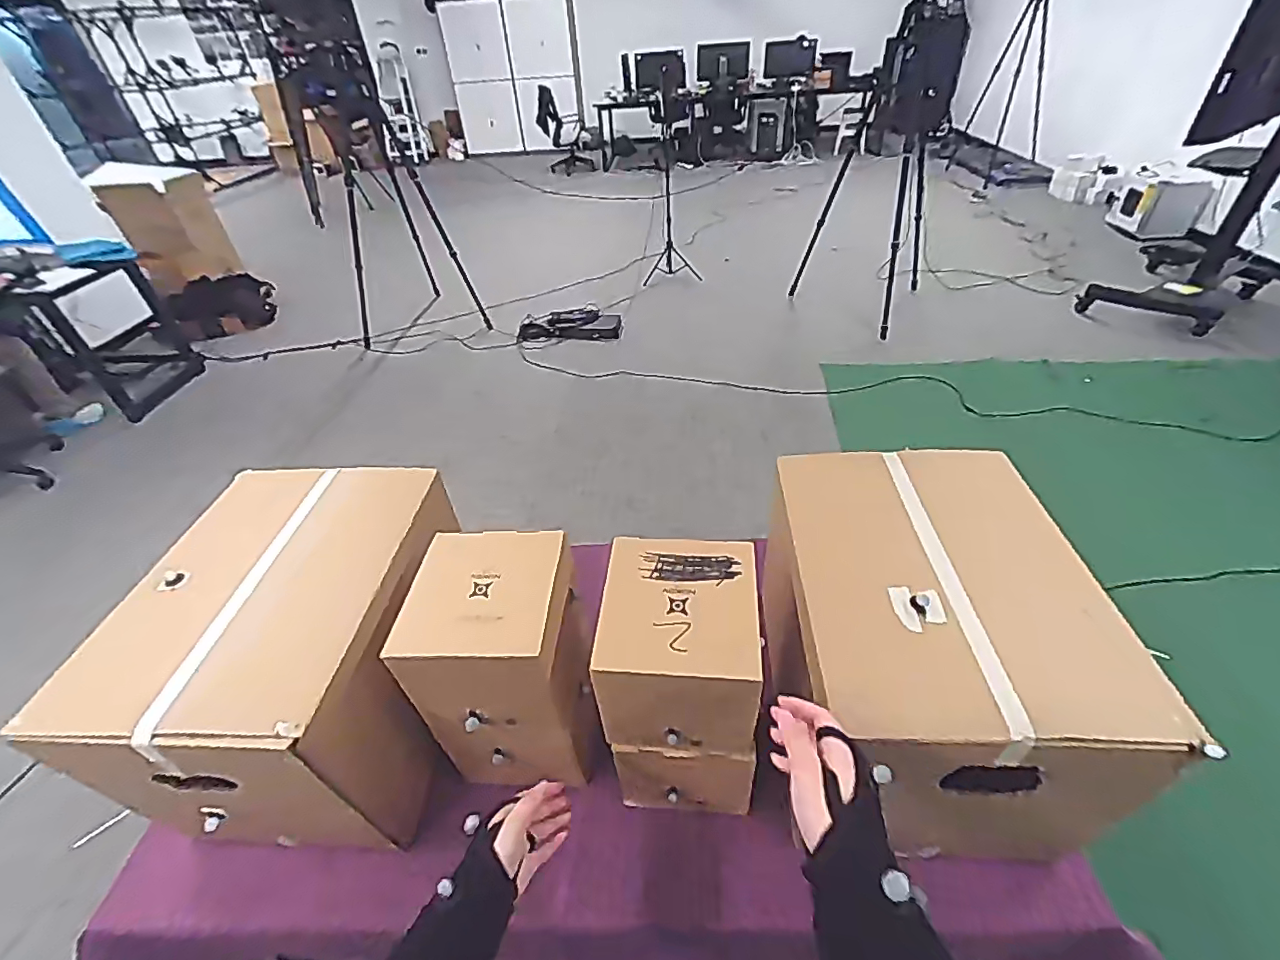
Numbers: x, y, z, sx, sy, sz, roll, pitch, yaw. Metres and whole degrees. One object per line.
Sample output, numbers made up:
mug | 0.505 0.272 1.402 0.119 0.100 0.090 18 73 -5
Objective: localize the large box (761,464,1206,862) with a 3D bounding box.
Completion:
large box | 0.352 0.222 0.720 0.320 0.320 0.408 0 41 5
